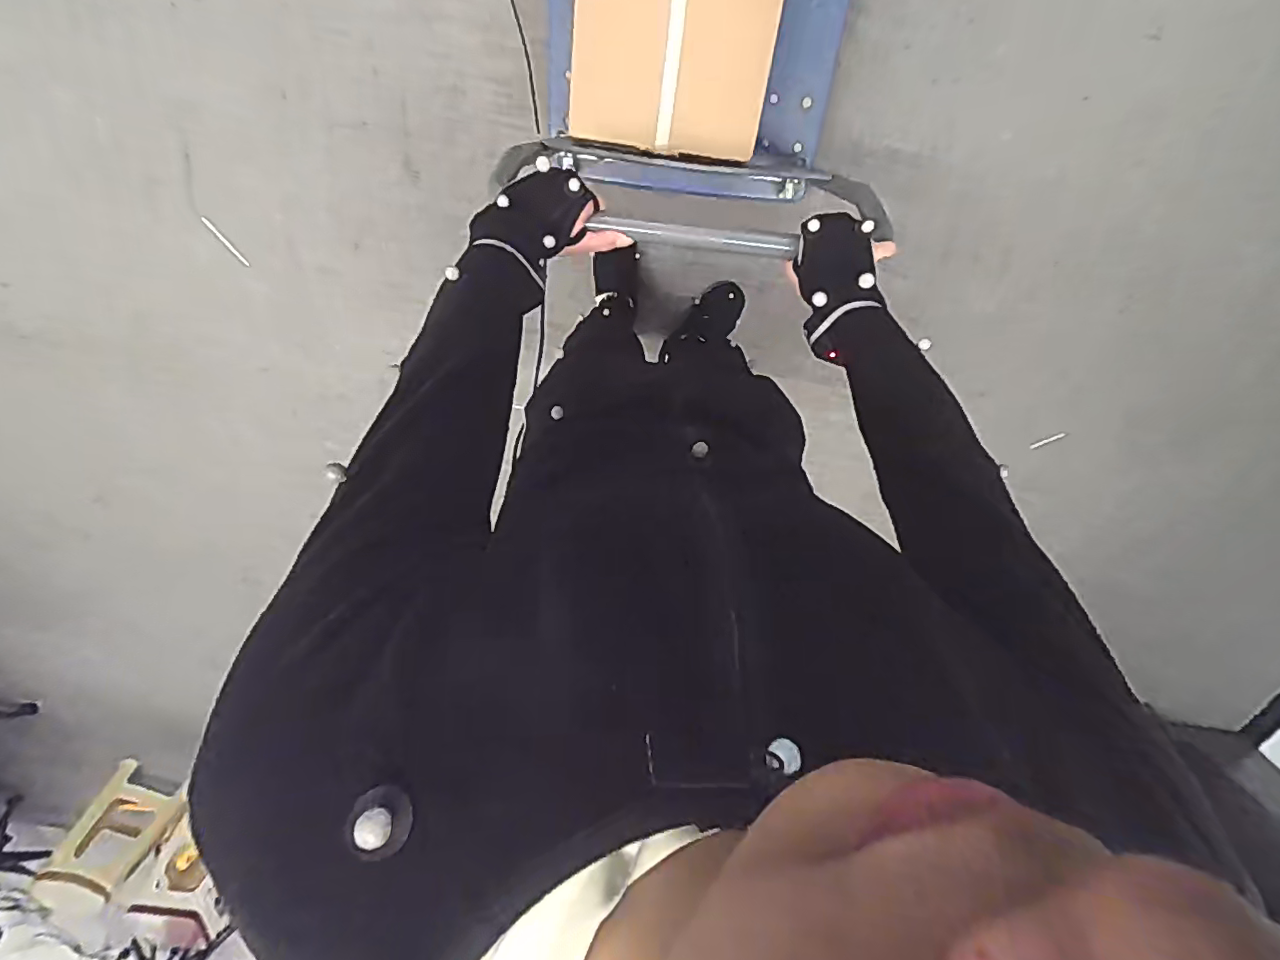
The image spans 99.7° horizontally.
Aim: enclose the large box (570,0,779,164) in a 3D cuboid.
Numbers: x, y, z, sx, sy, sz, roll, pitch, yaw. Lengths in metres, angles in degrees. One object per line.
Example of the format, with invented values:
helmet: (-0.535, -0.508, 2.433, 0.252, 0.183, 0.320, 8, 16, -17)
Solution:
large box: (0.063, -0.802, 0.945, 0.320, 0.320, 0.408, 7, 119, -2)
